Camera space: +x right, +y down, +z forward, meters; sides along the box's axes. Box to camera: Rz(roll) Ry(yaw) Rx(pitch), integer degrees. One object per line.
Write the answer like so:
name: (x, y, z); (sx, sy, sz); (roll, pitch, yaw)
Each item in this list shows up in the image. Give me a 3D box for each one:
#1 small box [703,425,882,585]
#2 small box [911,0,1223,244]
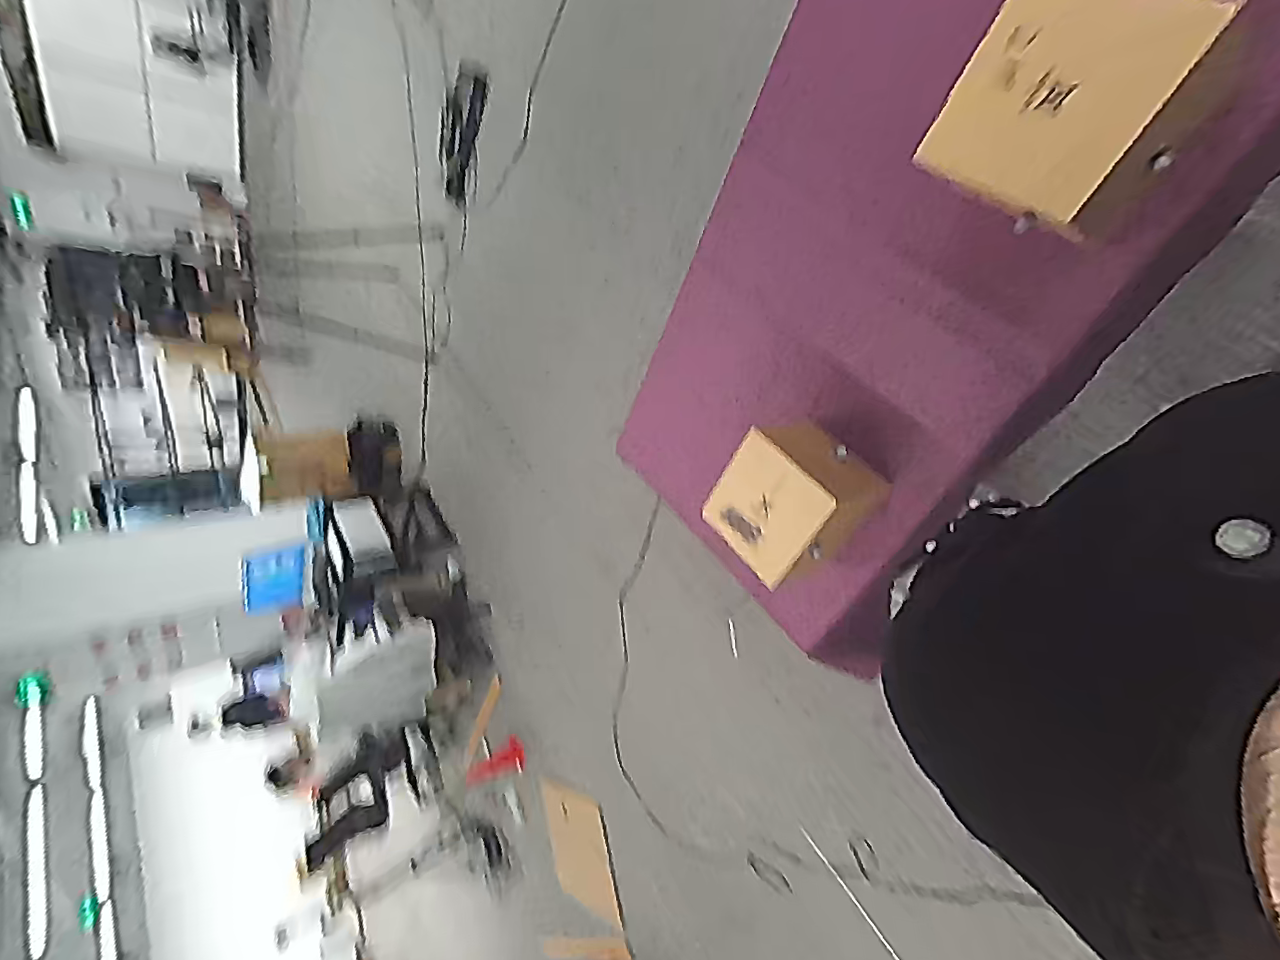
small box: (0.238, 0.031, 0.843); (0.168, 0.176, 0.179); (48, 128, 31)
small box: (0.431, -0.361, 0.554); (0.179, 0.176, 0.168); (49, 129, 30)
